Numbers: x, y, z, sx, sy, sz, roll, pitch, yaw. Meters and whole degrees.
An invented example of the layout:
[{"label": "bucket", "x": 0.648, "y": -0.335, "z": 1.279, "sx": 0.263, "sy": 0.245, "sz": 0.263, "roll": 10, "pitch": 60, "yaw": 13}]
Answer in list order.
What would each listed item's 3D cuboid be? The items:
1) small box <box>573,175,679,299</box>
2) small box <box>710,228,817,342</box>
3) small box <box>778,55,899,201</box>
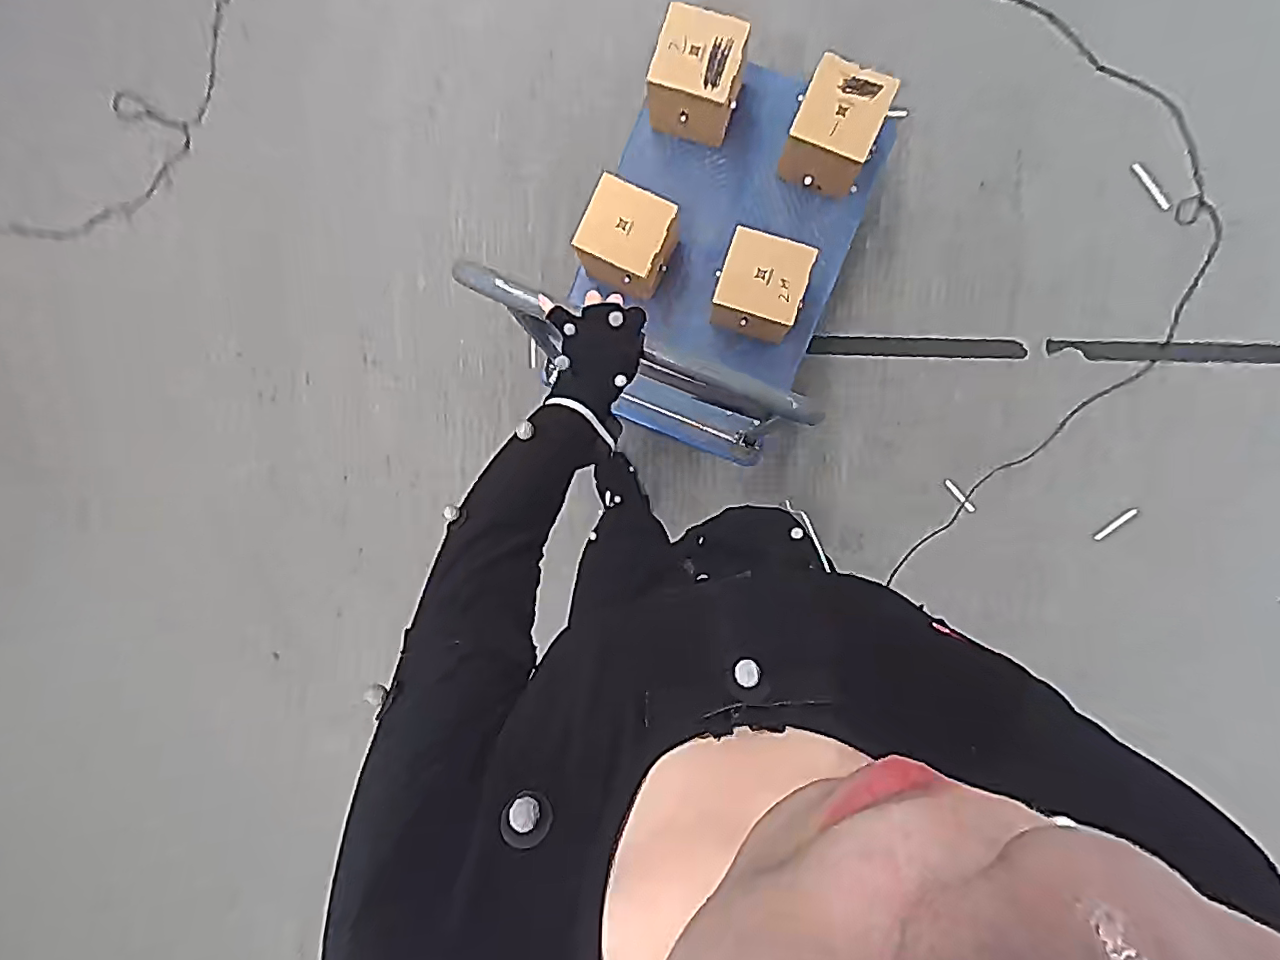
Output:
[{"label": "small box", "x": -0.027, "y": -0.530, "z": 1.207, "sx": 0.179, "sy": 0.176, "sz": 0.168, "roll": 25, "pitch": 93, "yaw": 1}, {"label": "small box", "x": 0.260, "y": -0.418, "z": 1.188, "sx": 0.179, "sy": 0.176, "sz": 0.168, "roll": 19, "pitch": 93, "yaw": 3}, {"label": "small box", "x": 0.415, "y": -0.747, "z": 1.165, "sx": 0.168, "sy": 0.176, "sz": 0.179, "roll": 24, "pitch": 95, "yaw": 3}]
